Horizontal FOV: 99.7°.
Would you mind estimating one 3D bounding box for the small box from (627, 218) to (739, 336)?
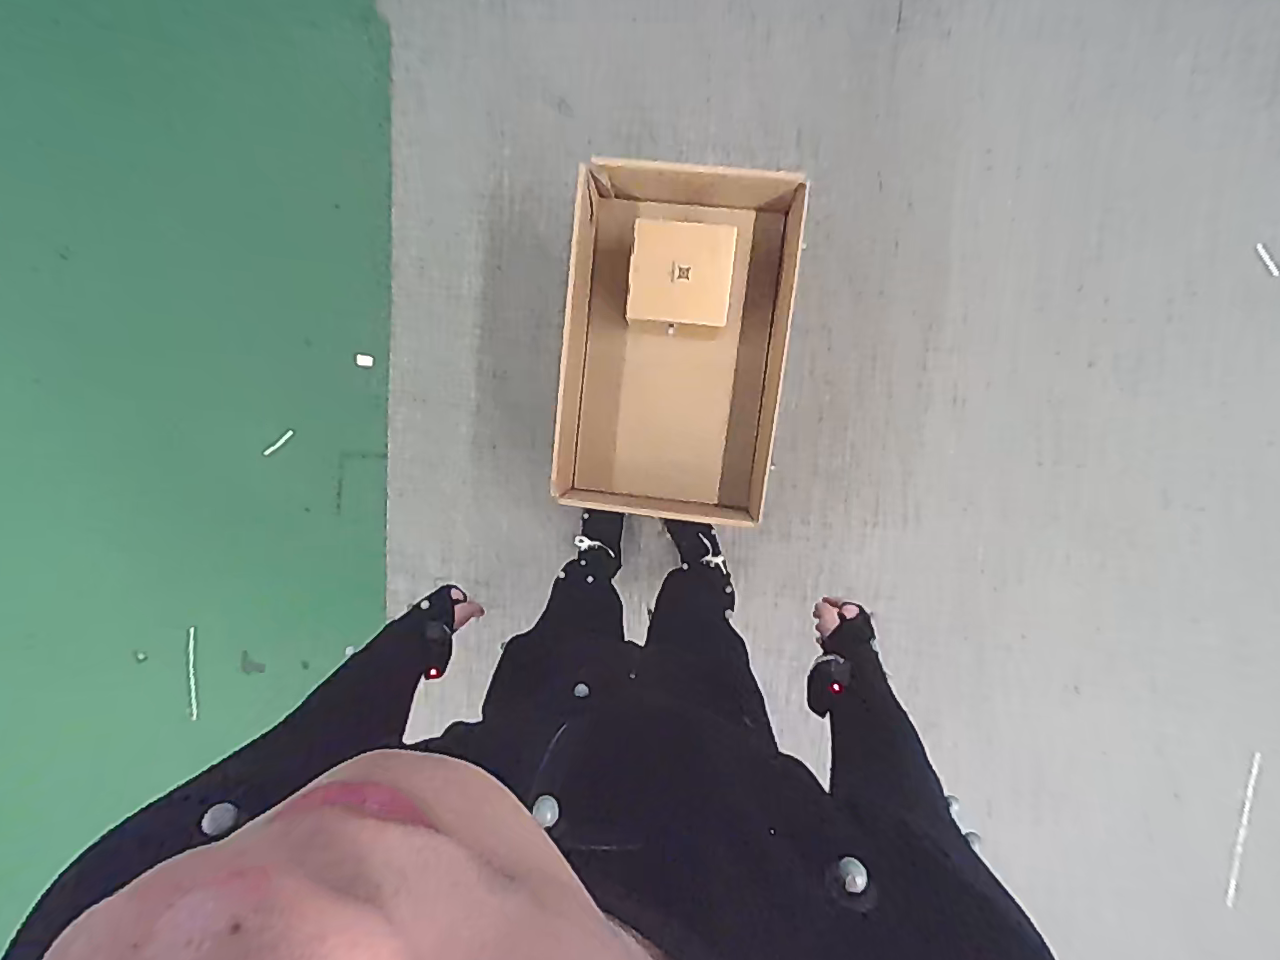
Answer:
[{"bbox_3d":[0.078,-0.363,0.995,0.179,0.176,0.168,7,98,5],"label":"small box"}]
